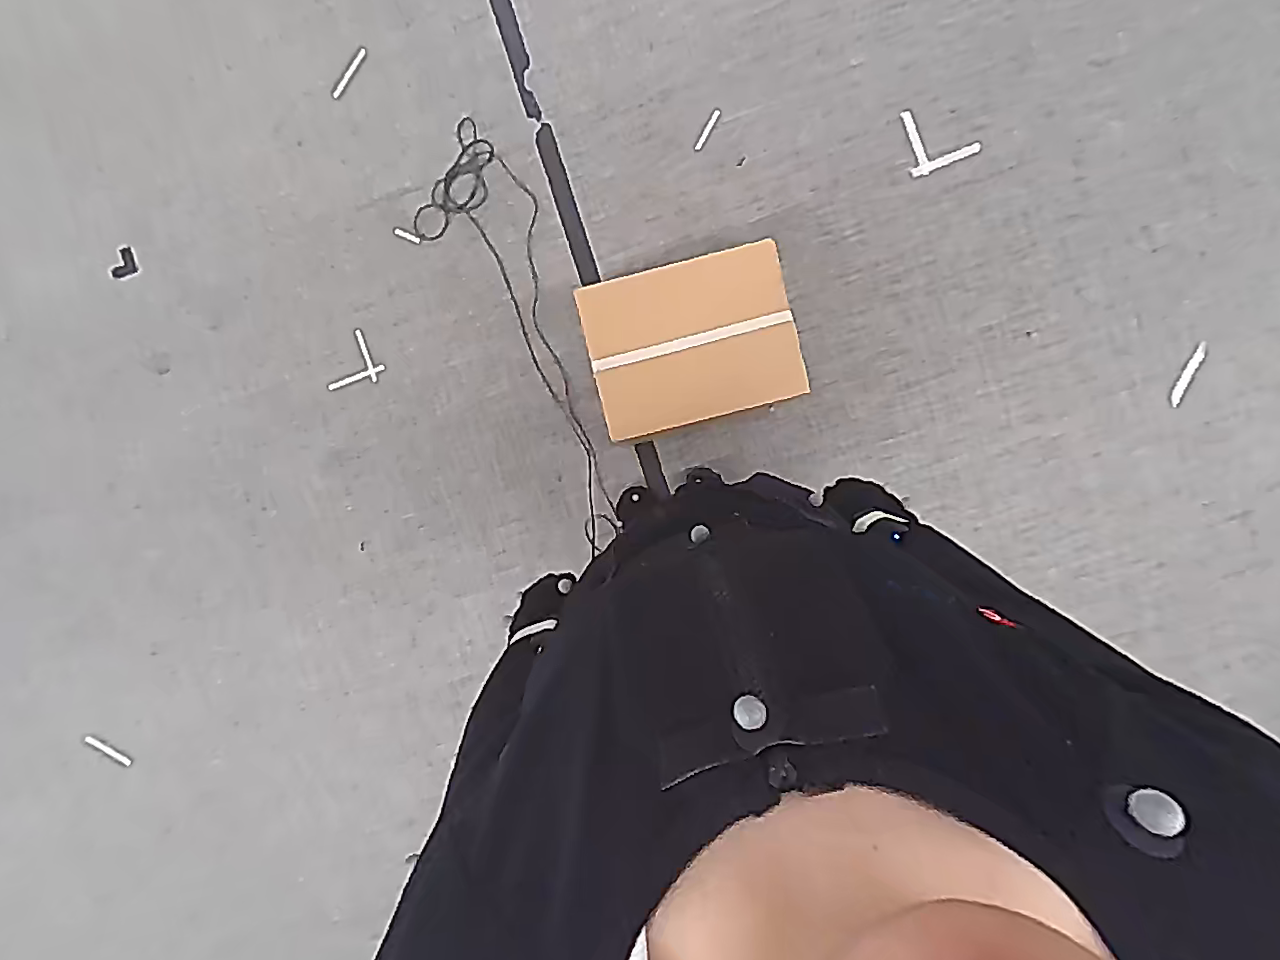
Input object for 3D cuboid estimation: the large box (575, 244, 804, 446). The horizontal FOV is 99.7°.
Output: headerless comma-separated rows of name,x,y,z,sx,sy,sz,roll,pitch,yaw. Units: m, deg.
large box,0.103,-0.274,1.220,0.408,0.320,0.320,-14,91,2
